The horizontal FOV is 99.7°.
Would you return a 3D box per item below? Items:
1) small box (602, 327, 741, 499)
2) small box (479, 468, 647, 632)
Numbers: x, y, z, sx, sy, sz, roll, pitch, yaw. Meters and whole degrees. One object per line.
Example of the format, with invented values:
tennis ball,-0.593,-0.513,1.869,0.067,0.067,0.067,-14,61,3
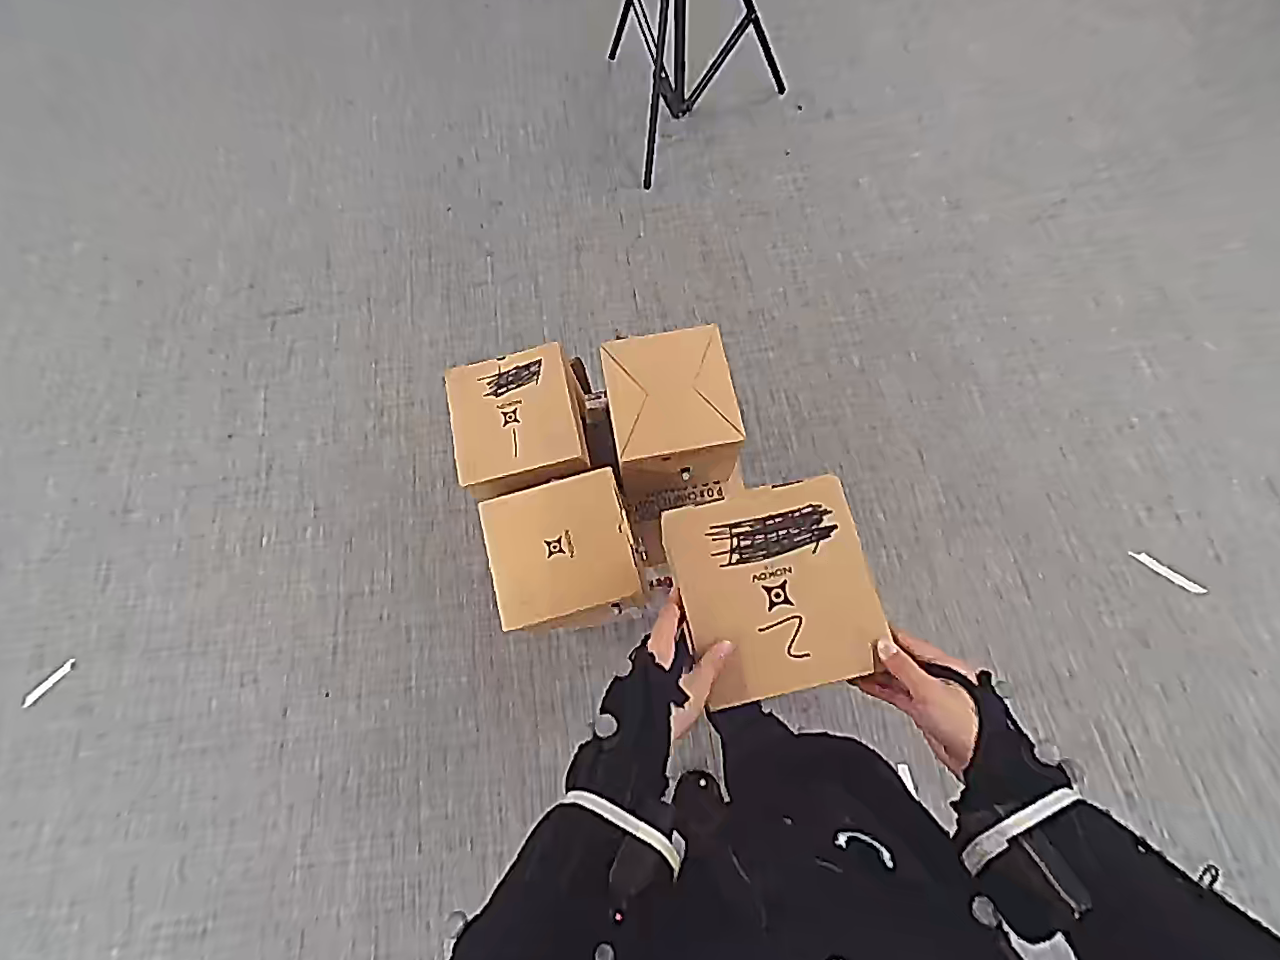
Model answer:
small box,0.041,-0.091,0.784,0.168,0.176,0.179,-10,72,-3
small box,-0.095,0.105,0.737,0.179,0.176,0.168,-16,74,-2
